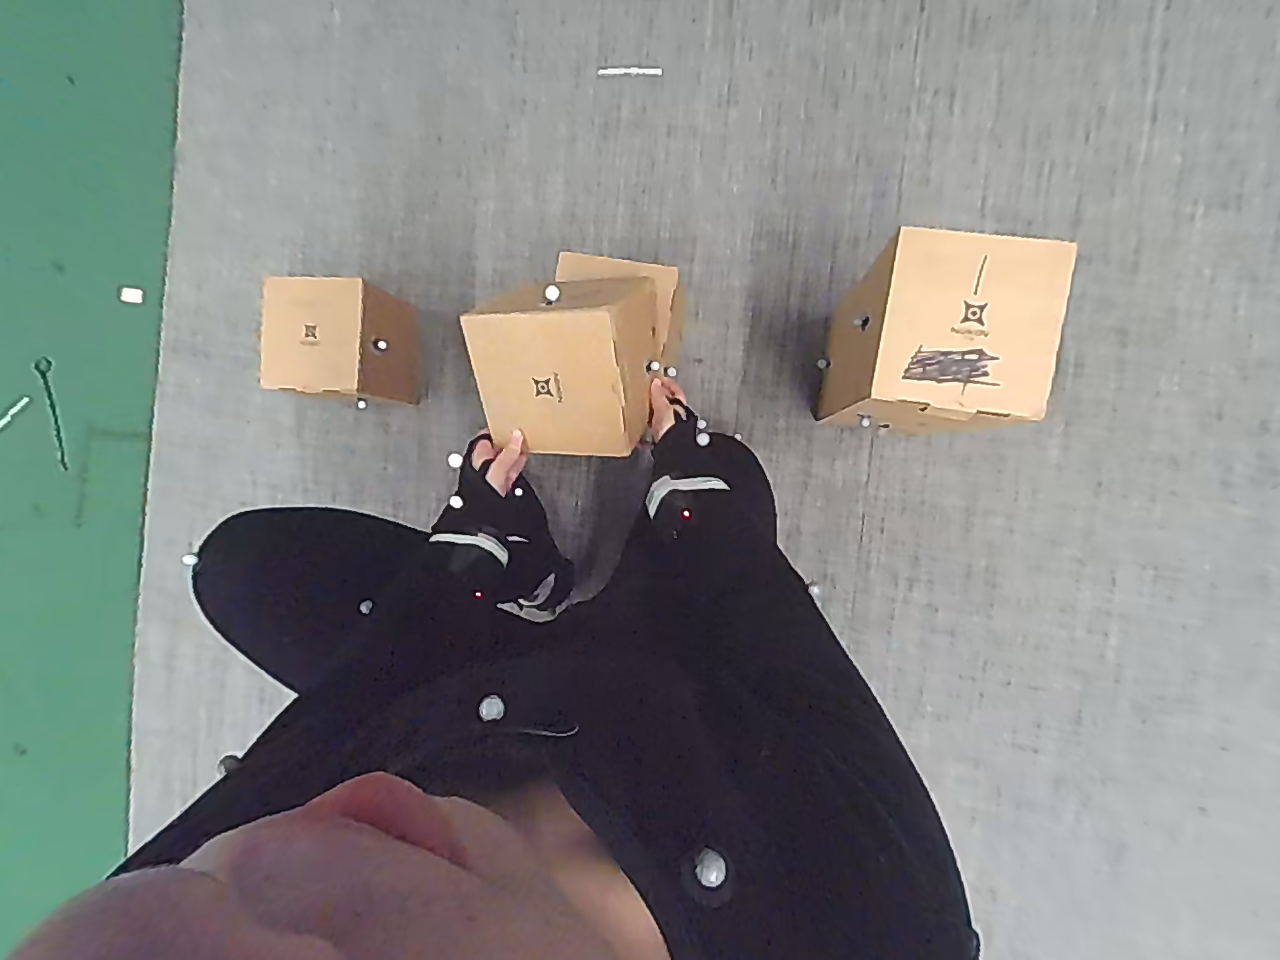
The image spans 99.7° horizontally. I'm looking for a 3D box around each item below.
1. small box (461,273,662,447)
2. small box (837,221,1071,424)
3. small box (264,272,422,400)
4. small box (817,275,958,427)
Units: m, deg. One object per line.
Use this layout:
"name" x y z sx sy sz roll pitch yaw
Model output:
"small box" -0.082 -0.151 0.663 0.179 0.176 0.168 2 119 17
"small box" 0.333 -0.163 0.613 0.168 0.176 0.179 10 92 8
"small box" -0.486 -0.231 0.904 0.168 0.176 0.179 4 92 8
"small box" 0.360 -0.173 0.776 0.168 0.176 0.179 9 94 8
